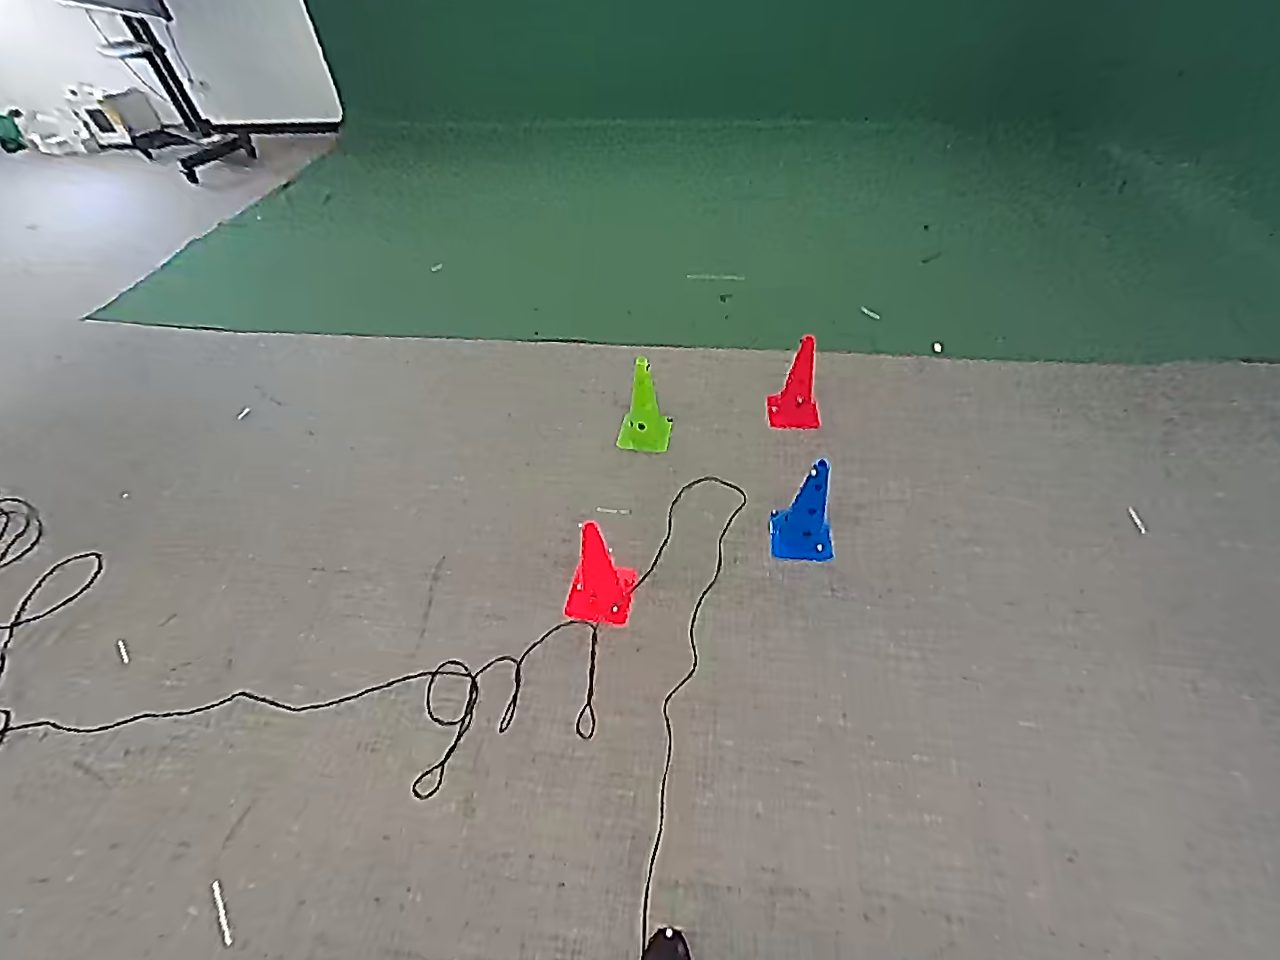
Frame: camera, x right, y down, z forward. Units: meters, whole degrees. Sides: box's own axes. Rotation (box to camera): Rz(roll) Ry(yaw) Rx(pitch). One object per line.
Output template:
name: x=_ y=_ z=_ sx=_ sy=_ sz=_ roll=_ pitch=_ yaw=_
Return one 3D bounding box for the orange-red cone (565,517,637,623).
orange-red cone: x=-0.125 y=0.230 z=1.570 sx=0.198 sy=0.360 sz=0.199 roll=8 pitch=48 yaw=9

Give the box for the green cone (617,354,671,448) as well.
green cone: x=0.009 y=-0.318 z=2.036 sx=0.200 sy=0.368 sz=0.202 roll=5 pitch=50 yaw=8
